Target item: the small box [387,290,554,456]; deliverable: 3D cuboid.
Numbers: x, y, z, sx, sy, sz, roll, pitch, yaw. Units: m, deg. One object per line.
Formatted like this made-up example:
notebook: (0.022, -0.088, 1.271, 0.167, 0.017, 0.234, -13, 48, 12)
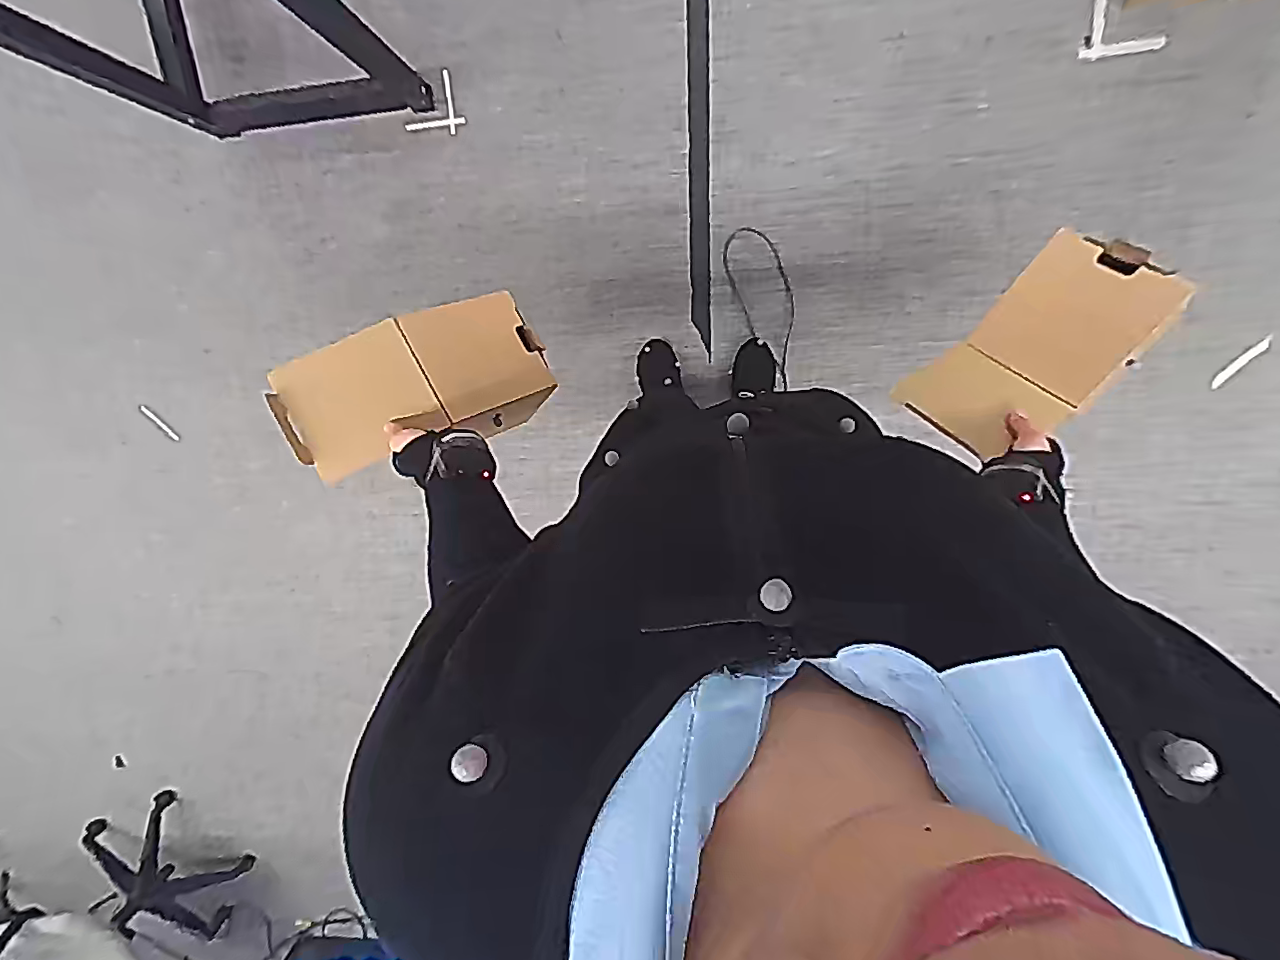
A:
small box: (-0.264, -0.155, 0.821, 0.179, 0.176, 0.168, -29, 91, -32)
